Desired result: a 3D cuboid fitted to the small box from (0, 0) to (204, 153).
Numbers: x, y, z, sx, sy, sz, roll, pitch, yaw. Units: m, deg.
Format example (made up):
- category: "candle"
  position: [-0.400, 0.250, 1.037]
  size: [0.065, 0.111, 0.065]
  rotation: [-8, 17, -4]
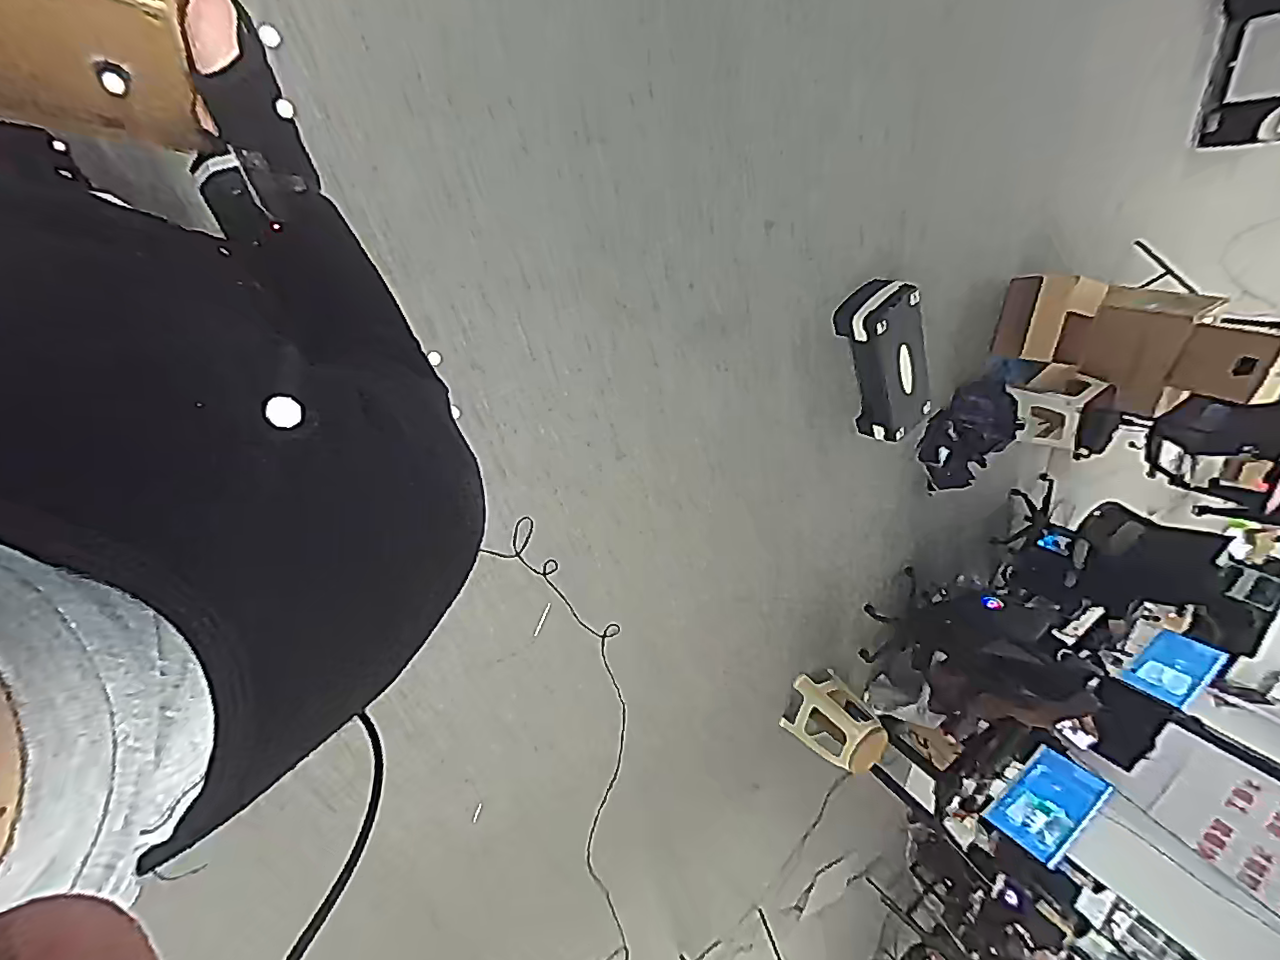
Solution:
- category: "small box"
  position: [-0.427, -0.374, 0.381]
  size: [0.168, 0.176, 0.179]
  rotation: [-6, 86, -34]
